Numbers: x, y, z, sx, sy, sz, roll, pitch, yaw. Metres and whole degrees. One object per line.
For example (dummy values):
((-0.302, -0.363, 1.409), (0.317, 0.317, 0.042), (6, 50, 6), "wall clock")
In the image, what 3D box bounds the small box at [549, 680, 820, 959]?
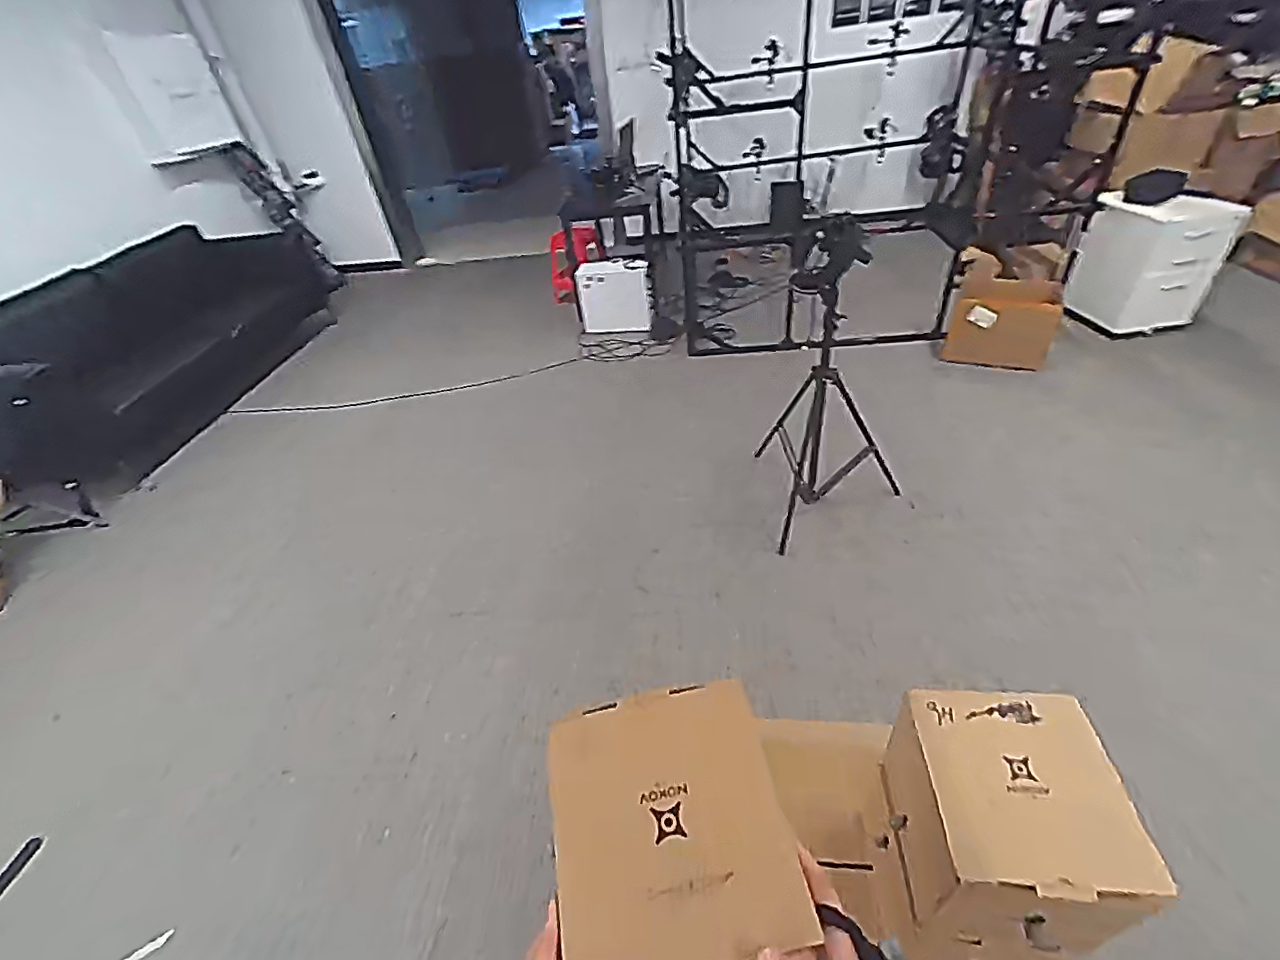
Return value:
((0.025, 0.298, 0.449), (0.168, 0.176, 0.179), (-11, 48, -4), "small box")

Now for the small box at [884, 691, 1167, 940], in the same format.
((0.364, 0.343, 0.558), (0.168, 0.176, 0.179), (-2, 40, 10), "small box")

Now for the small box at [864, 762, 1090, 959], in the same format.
((0.381, 0.472, 0.657), (0.168, 0.176, 0.179), (-3, 40, 9), "small box")
